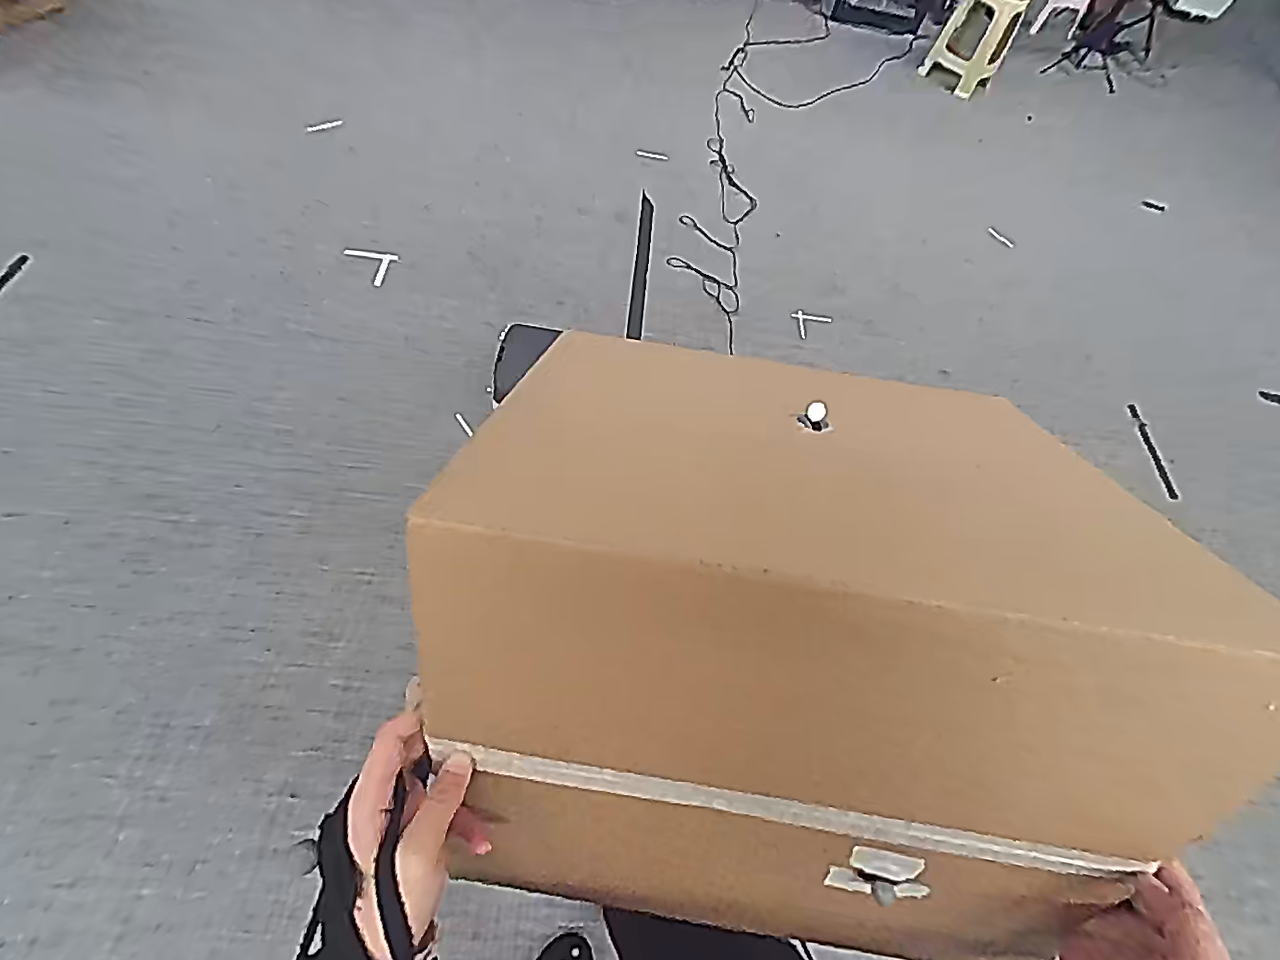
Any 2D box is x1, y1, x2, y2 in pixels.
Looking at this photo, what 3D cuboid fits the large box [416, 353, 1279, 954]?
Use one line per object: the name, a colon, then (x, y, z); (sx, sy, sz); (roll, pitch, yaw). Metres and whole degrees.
large box: (0.089, 0.105, 0.442); (0.408, 0.320, 0.320); (8, 30, 1)
